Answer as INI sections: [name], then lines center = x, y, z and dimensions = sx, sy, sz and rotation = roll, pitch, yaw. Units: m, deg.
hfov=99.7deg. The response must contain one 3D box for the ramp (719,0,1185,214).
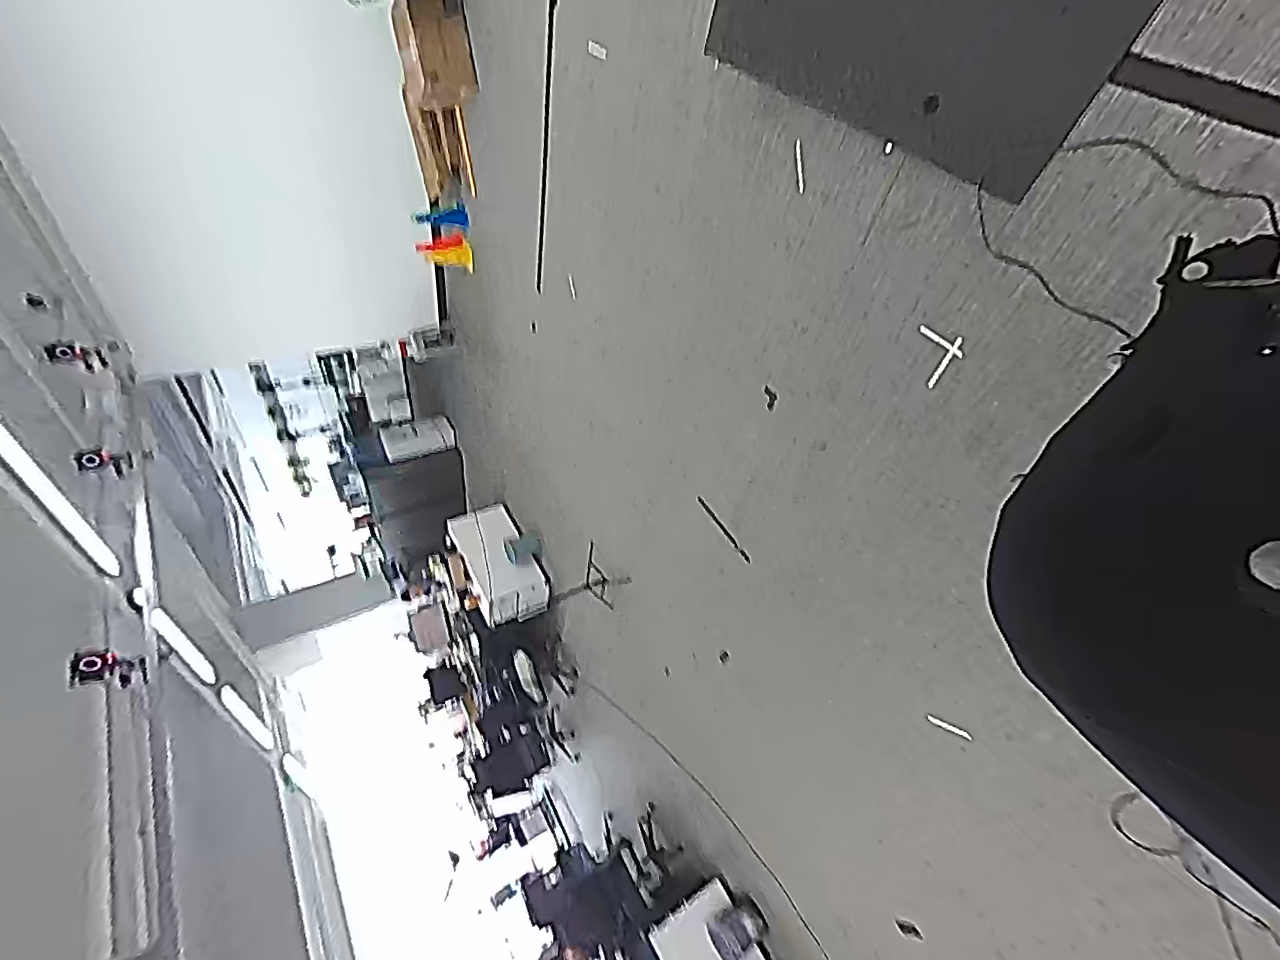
[ramp]
center = 0.616, -1.079, 1.261
dimensions = 0.991, 0.206, 0.509
rotation = 52, 144, 32
